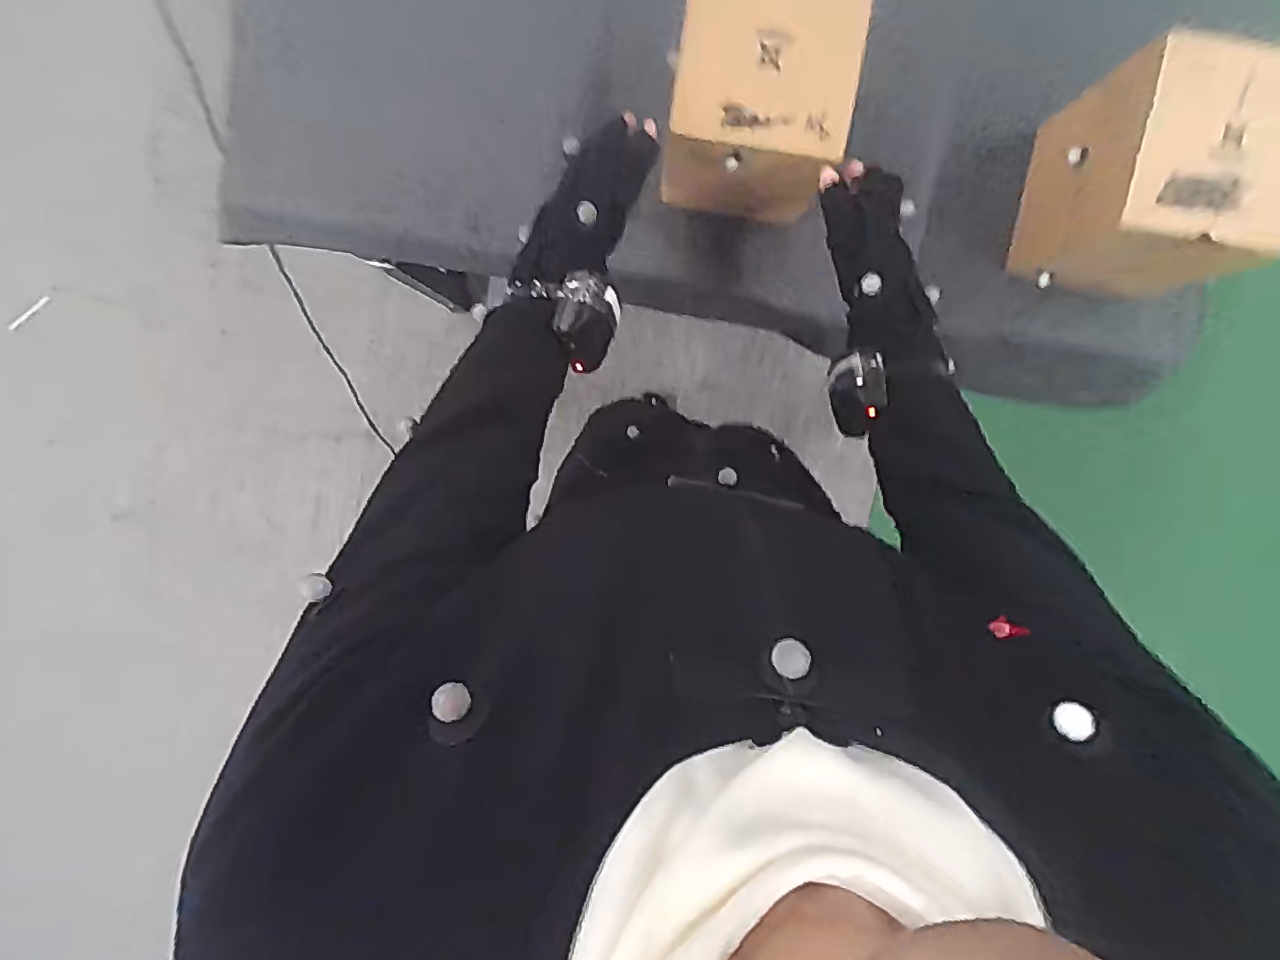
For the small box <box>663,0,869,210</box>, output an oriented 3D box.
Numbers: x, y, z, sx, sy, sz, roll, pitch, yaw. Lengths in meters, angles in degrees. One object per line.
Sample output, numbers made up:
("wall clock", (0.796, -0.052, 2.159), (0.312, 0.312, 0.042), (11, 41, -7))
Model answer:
("small box", (0.118, -0.414, 0.566), (0.168, 0.176, 0.179), (9, 98, -1))
